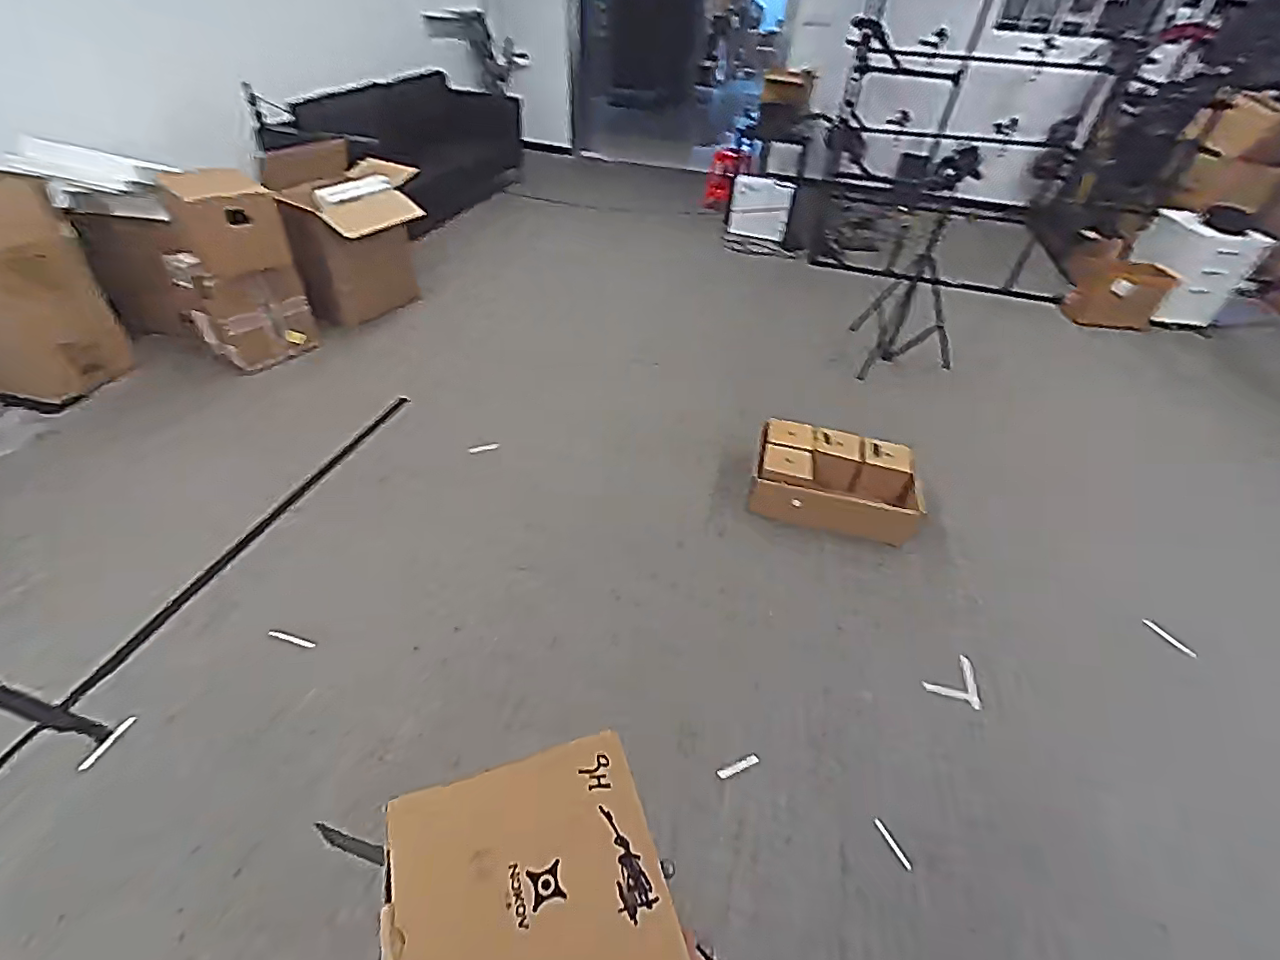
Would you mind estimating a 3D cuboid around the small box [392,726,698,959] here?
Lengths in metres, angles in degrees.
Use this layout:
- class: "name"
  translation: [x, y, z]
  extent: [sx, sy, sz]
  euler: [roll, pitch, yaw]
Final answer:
- class: "small box"
  translation: [-0.078, 0.321, 0.412]
  extent: [0.179, 0.176, 0.168]
  euler: [-8, 49, -20]
